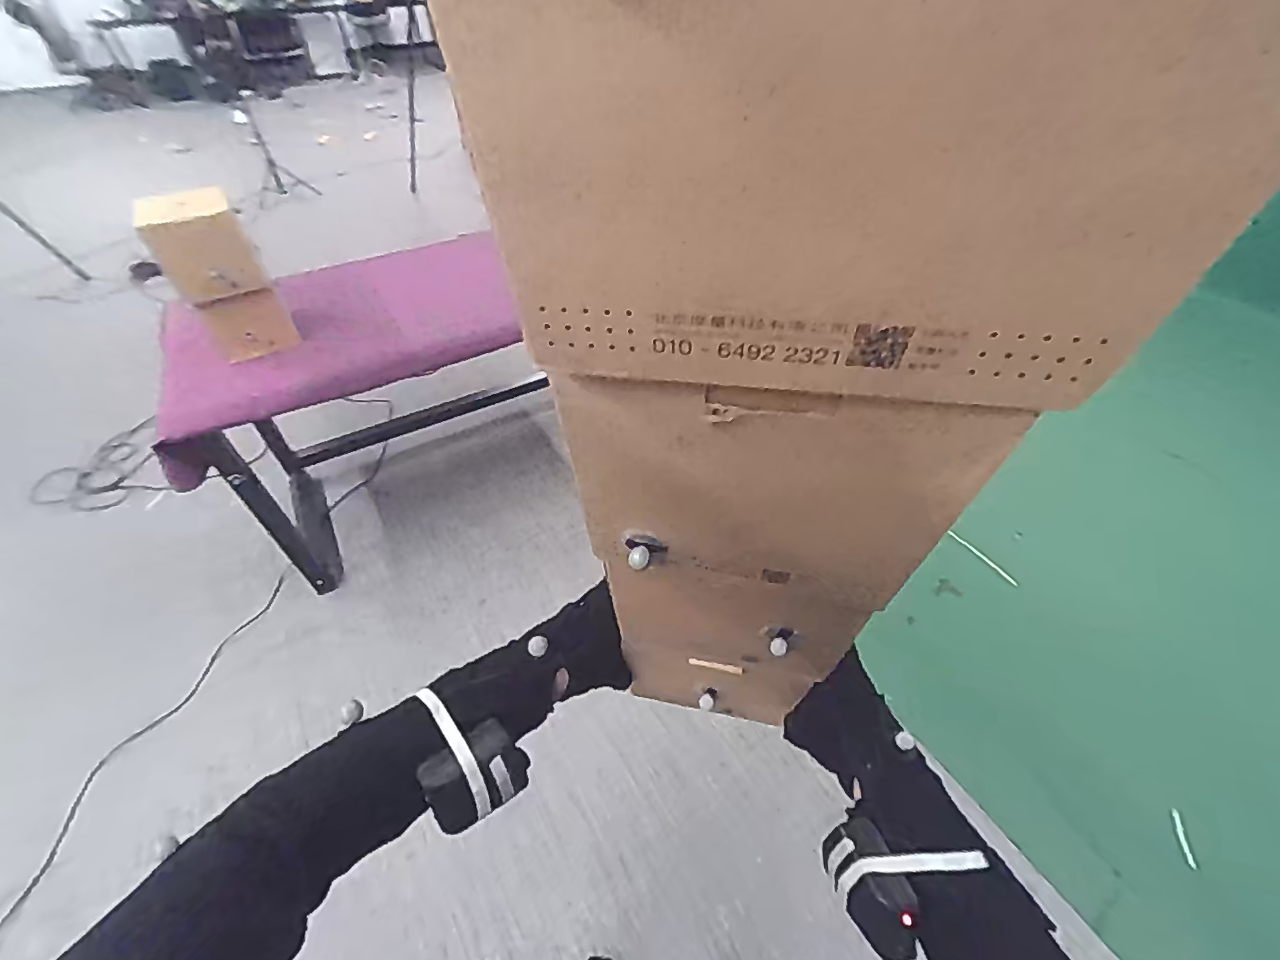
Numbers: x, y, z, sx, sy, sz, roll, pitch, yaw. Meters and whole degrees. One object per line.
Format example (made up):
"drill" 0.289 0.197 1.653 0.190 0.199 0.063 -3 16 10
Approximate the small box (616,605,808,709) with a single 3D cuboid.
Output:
"small box" 0.078 0.124 0.564 0.168 0.176 0.179 5 54 8

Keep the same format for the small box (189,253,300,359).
"small box" -0.962 -0.422 1.311 0.168 0.176 0.179 -26 53 -23

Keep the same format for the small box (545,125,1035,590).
"small box" 0.066 -0.060 0.292 0.168 0.176 0.179 9 55 9

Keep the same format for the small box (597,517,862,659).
"small box" 0.075 0.020 0.415 0.168 0.176 0.179 8 55 9

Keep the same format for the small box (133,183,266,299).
"small box" -0.951 -0.520 1.177 0.168 0.176 0.179 -25 52 -21
